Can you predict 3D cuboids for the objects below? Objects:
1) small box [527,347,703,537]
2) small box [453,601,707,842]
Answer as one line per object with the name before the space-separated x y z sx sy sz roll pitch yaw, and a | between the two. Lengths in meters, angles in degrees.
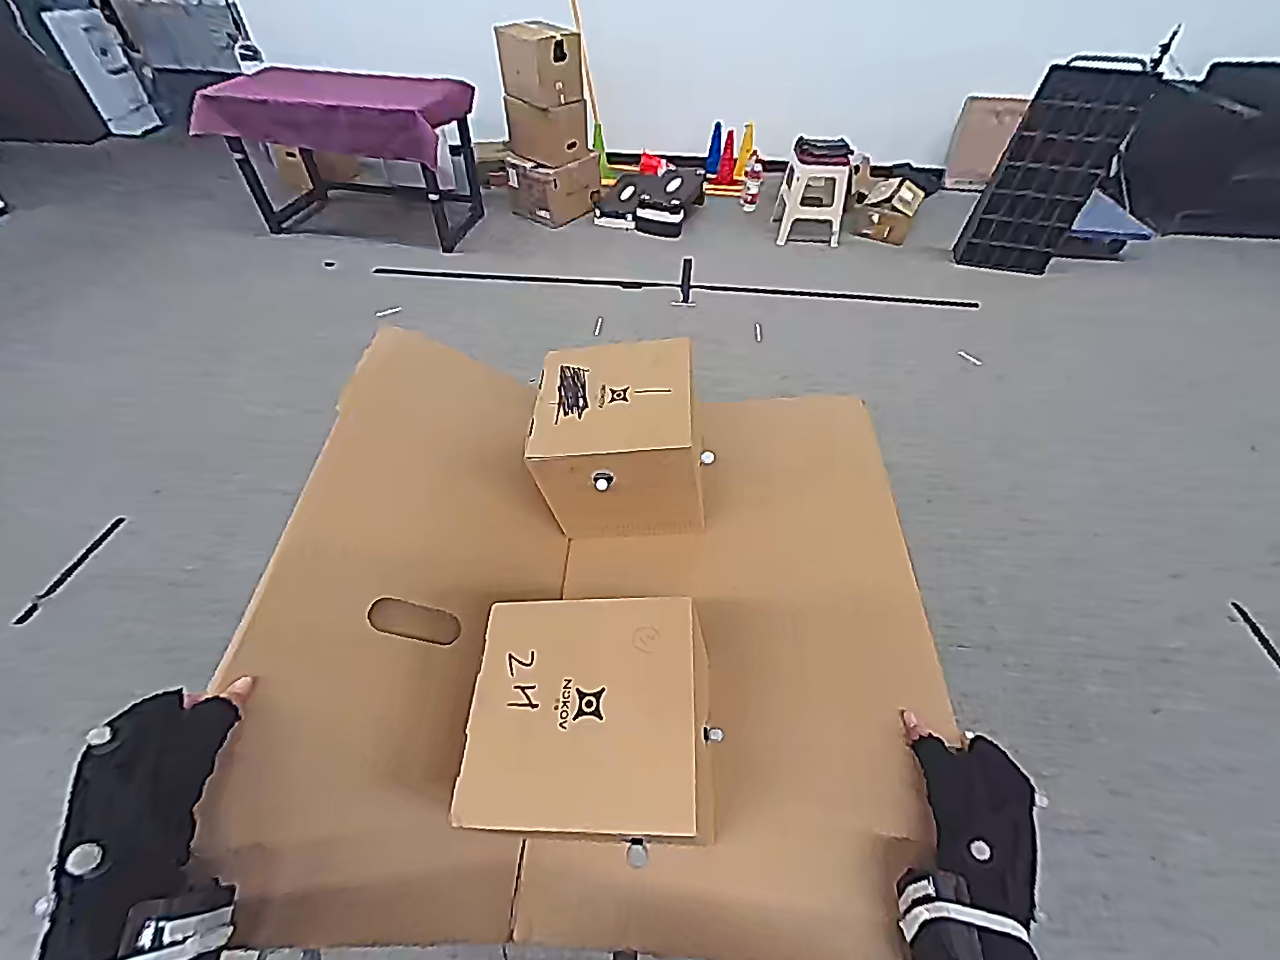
small box | -0.017 -0.039 0.666 0.179 0.176 0.168 -3 54 9
small box | -0.031 0.217 0.481 0.179 0.176 0.168 -3 54 10
